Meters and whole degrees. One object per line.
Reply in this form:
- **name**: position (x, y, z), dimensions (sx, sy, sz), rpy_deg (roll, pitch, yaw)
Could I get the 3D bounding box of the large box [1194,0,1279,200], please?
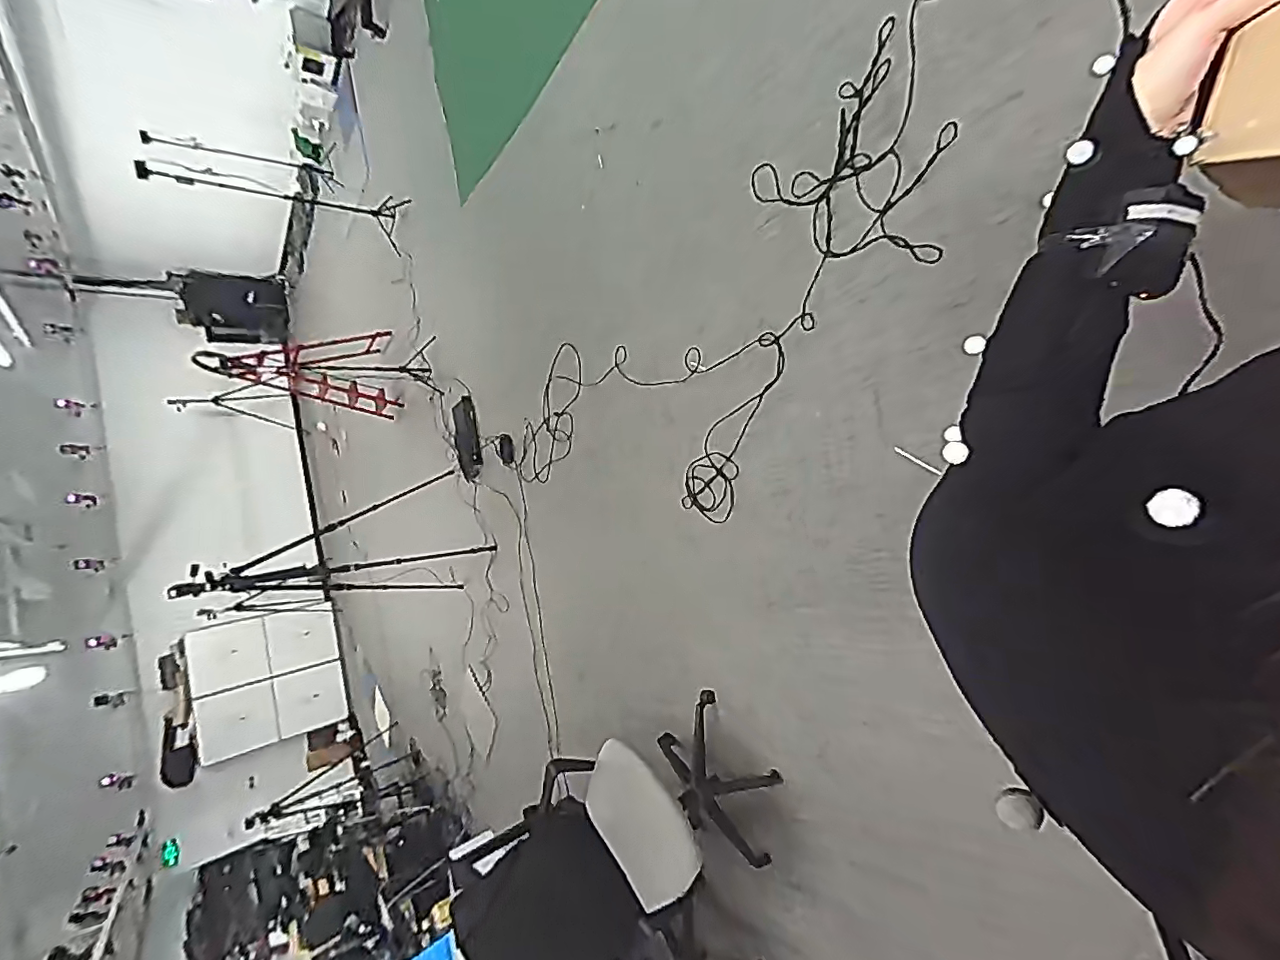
- **large box**: position (0.640, -0.349, 0.277), dimensions (0.408, 0.320, 0.320), rpy_deg (24, 120, 49)
